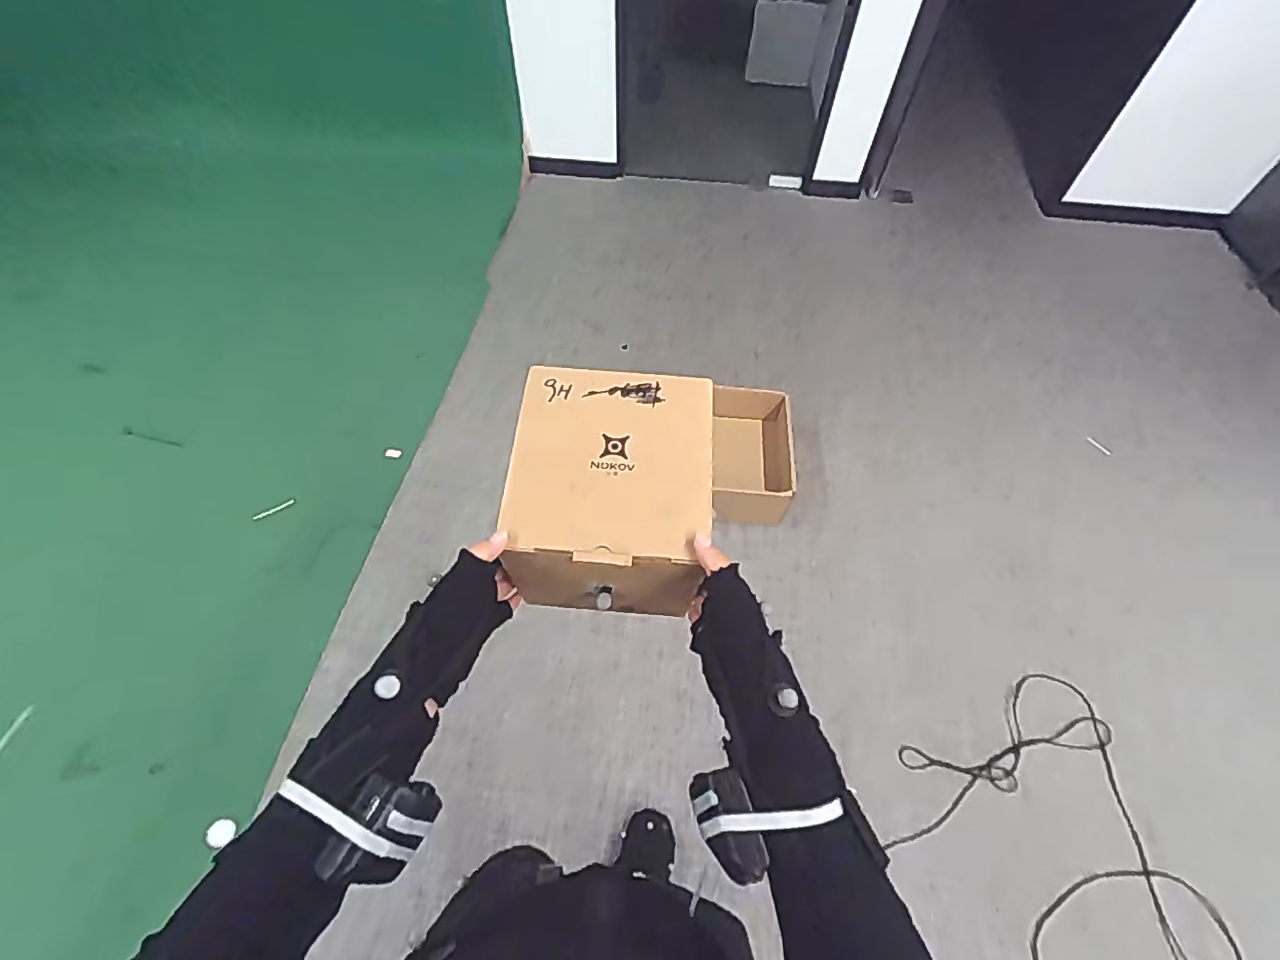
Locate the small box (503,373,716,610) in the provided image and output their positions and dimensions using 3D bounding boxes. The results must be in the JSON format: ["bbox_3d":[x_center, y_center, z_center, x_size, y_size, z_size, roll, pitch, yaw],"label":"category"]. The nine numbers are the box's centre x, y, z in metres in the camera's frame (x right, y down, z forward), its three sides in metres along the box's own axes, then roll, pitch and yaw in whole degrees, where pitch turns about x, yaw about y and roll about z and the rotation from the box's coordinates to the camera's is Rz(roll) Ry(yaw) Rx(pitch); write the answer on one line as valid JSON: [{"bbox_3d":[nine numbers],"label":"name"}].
[{"bbox_3d":[-0.021,0.020,0.514,0.168,0.176,0.179,1,62,-1],"label":"small box"}]
